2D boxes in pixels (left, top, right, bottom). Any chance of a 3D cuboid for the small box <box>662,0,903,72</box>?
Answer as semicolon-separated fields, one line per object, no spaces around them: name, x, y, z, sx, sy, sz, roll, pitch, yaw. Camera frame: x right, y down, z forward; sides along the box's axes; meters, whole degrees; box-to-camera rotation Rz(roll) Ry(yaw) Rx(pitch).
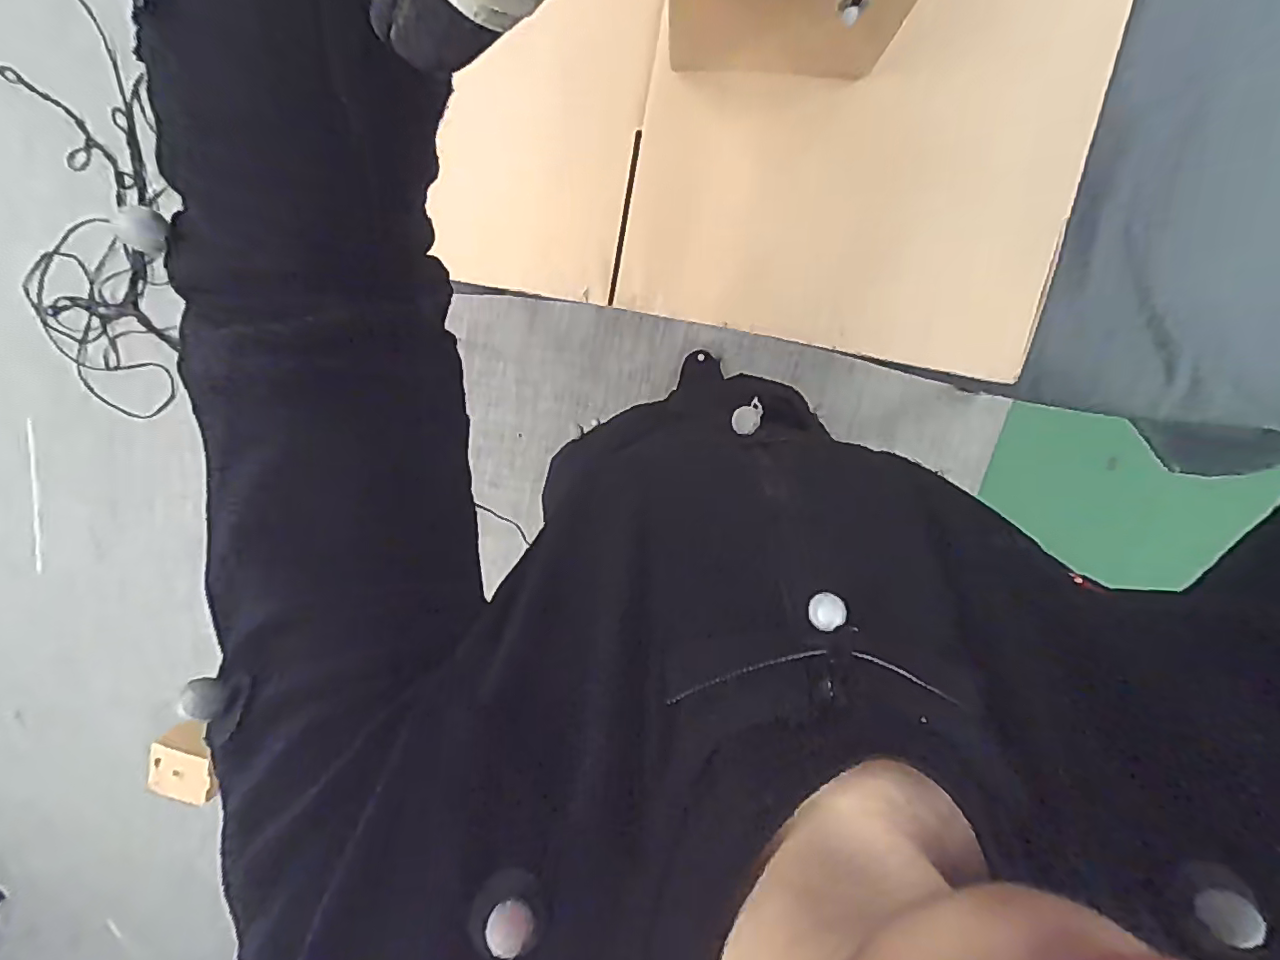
small box;0.108;-0.418;0.372;0.179;0.176;0.168;4;99;2

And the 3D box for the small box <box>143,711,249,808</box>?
small box;-1.297;0.813;1.590;0.179;0.176;0.168;16;103;-1
